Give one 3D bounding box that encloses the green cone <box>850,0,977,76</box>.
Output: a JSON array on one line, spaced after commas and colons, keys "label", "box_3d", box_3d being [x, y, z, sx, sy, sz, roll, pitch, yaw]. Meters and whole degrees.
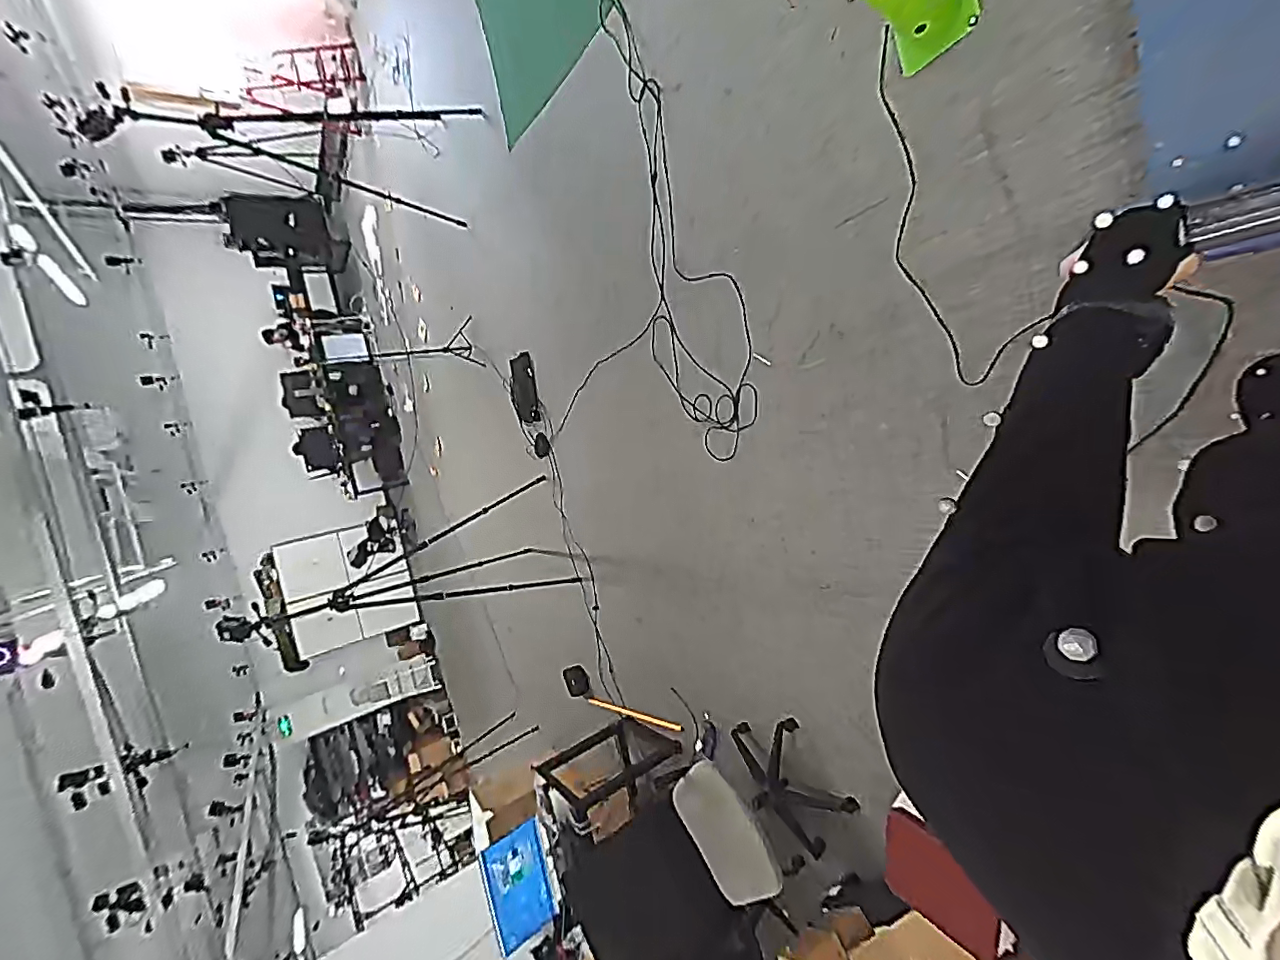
[{"label": "green cone", "box_3d": [0.616, -1.172, 1.314, 0.202, 0.368, 0.200, -12, 92, 58]}]
